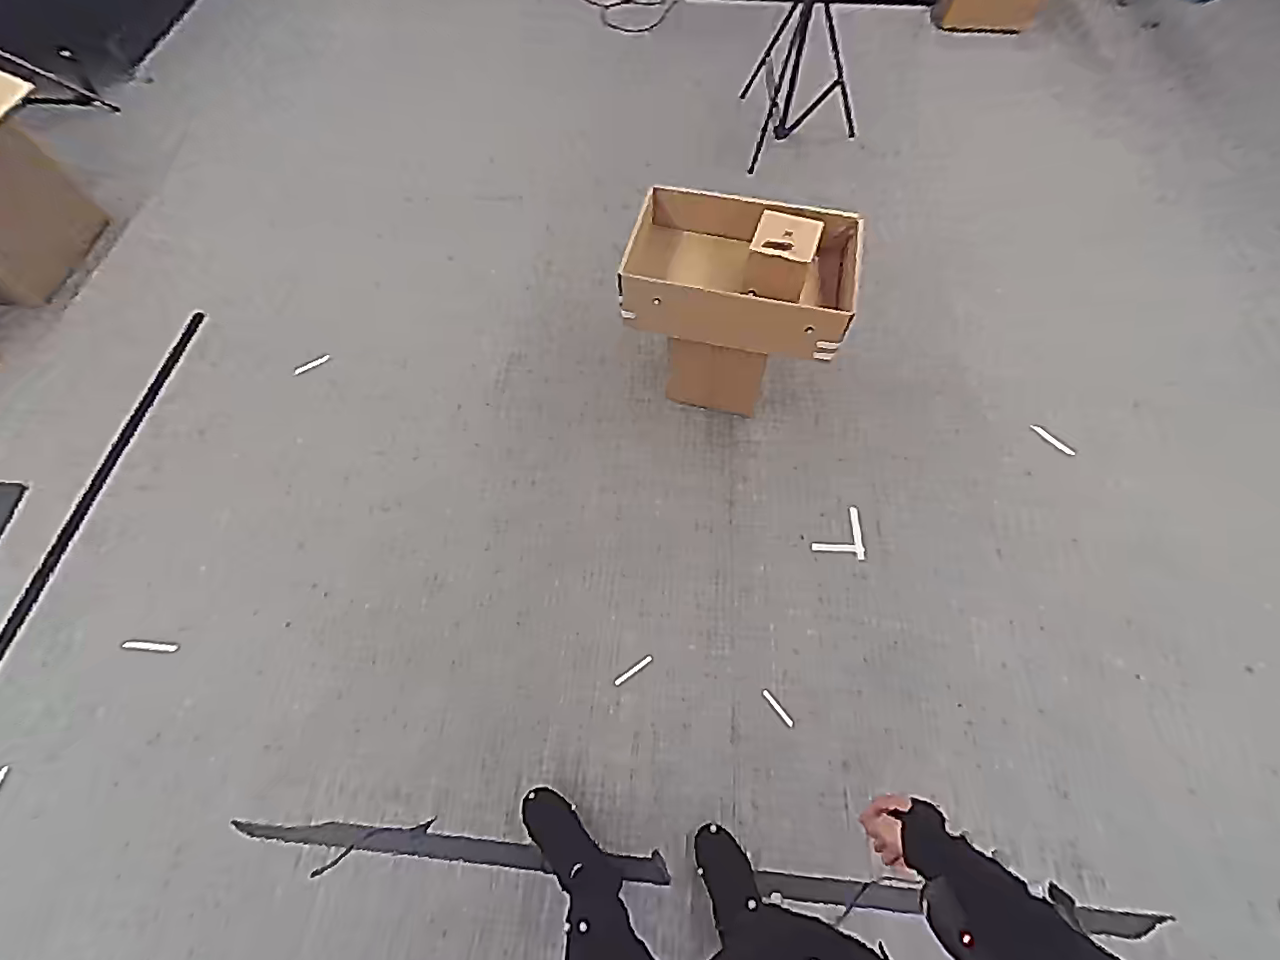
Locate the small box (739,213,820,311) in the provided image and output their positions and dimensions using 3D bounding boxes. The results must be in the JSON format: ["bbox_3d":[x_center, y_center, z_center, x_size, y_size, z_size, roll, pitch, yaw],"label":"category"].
[{"bbox_3d":[0.382,-0.602,1.503,0.168,0.176,0.179,18,63,10],"label":"small box"}]
